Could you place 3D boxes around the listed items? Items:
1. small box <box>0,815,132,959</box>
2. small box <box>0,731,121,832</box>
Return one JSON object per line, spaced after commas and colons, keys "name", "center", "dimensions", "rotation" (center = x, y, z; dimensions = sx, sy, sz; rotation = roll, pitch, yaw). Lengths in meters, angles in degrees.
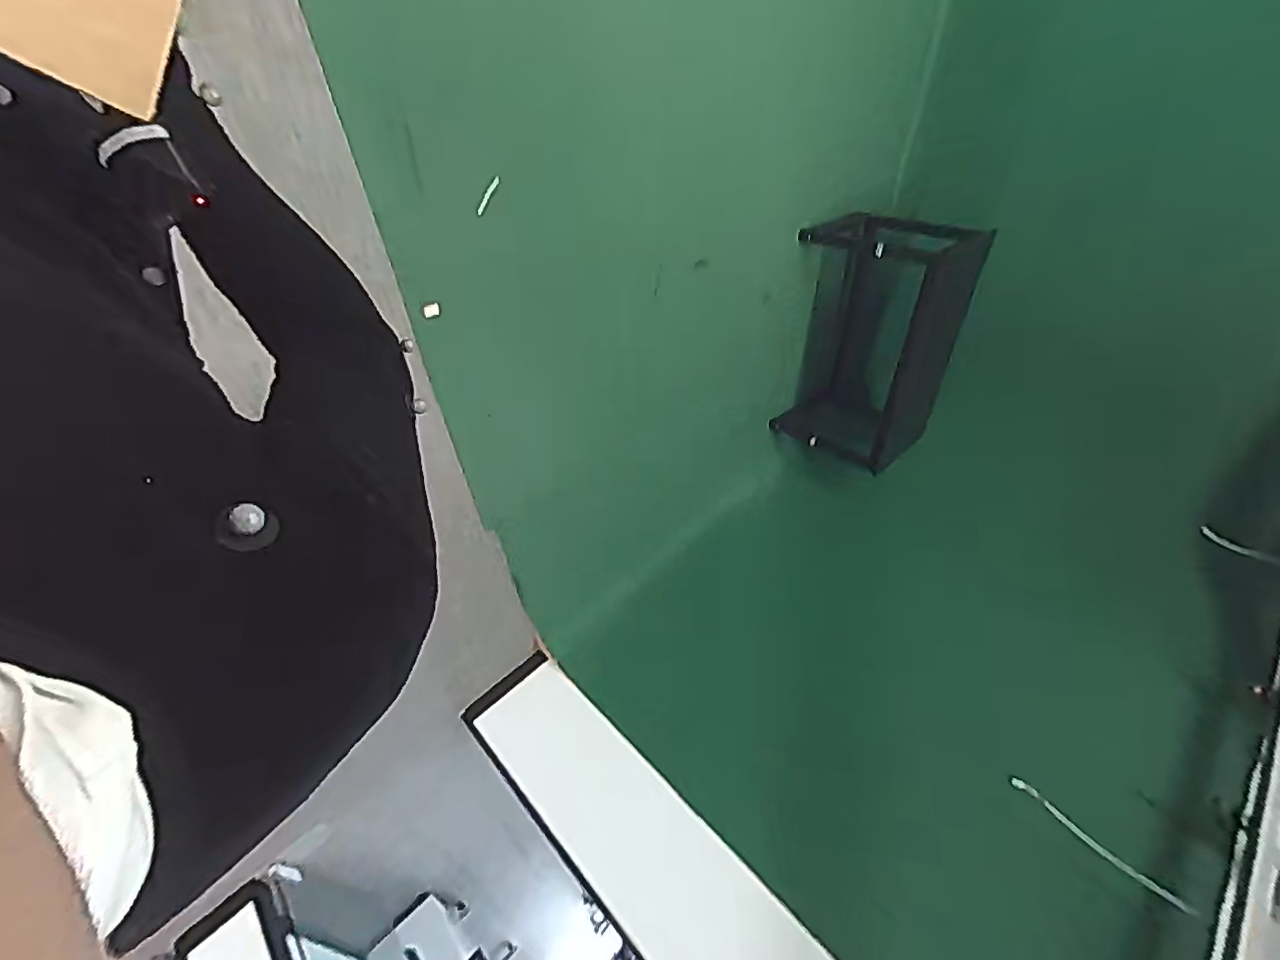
{"name": "small box", "center": [-0.863, 0.595, 0.738], "dimensions": [0.168, 0.176, 0.179], "rotation": [-46, 144, -18]}
{"name": "small box", "center": [-0.974, 0.524, 0.836], "dimensions": [0.168, 0.176, 0.179], "rotation": [-43, 142, -19]}
